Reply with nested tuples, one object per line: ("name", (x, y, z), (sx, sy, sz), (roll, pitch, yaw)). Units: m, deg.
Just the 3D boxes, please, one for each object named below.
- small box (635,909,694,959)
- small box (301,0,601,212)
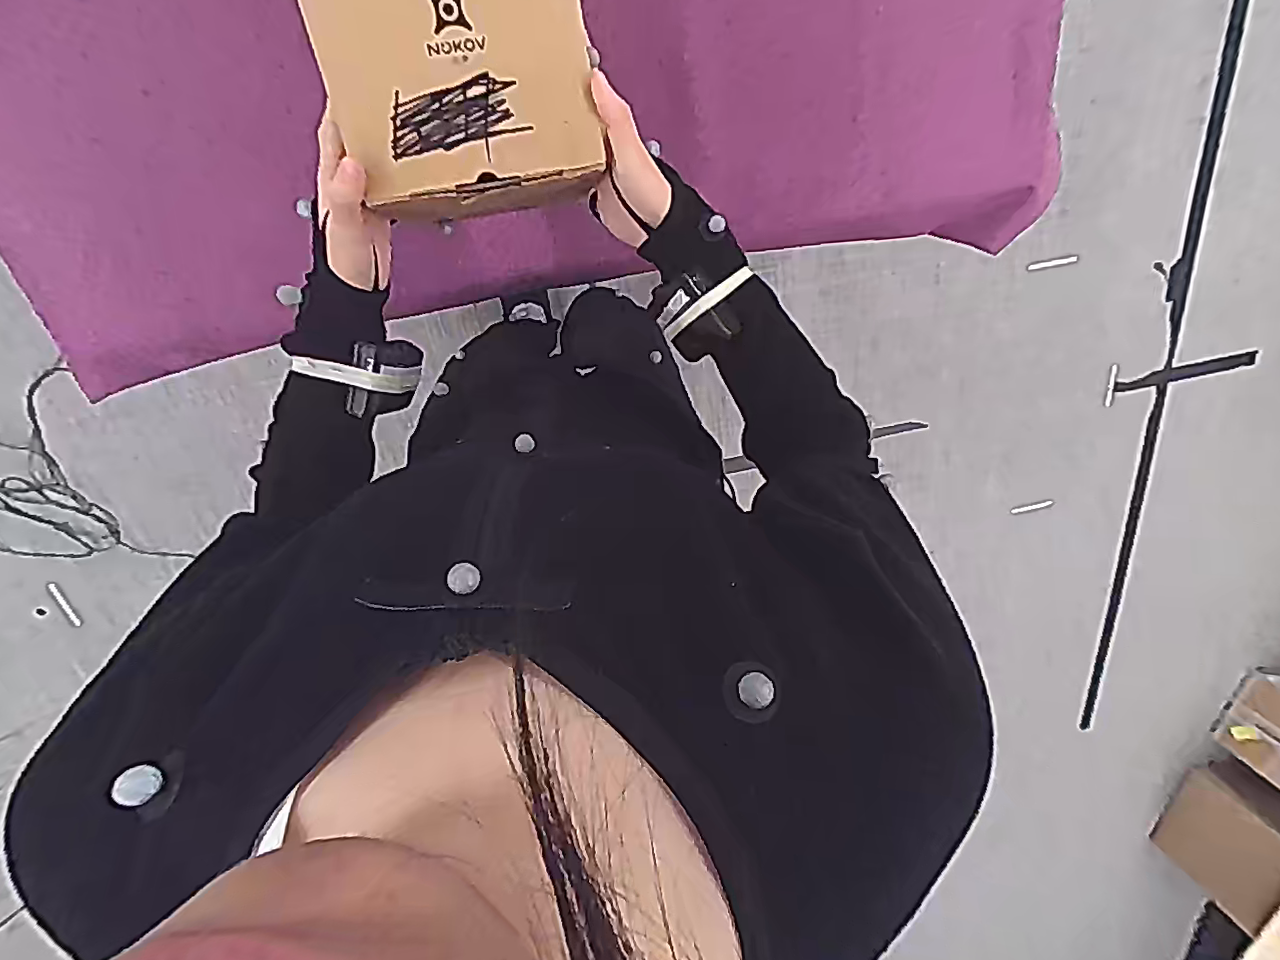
("small box", (0.089, 1.614, 1.845), (0.179, 0.176, 0.168), (-13, 112, -4))
("small box", (-0.130, -0.308, 0.402), (0.168, 0.176, 0.179), (-12, 111, -7))
